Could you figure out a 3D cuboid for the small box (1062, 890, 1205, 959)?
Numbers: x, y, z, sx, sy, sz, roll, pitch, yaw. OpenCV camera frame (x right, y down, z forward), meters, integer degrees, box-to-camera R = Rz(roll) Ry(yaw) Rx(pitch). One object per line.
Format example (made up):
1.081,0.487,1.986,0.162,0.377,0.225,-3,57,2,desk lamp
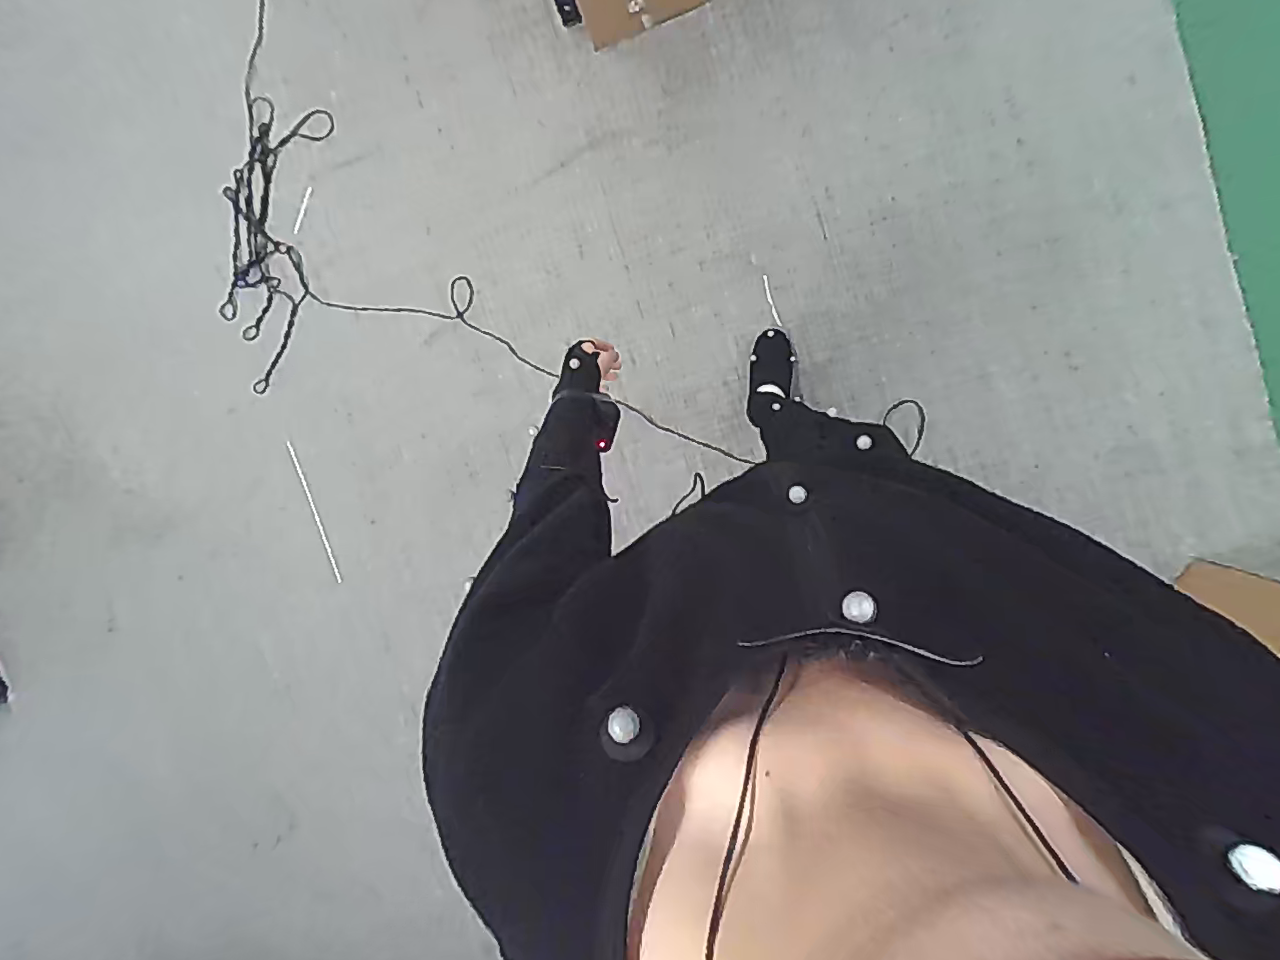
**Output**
0.911,0.888,0.954,0.168,0.176,0.179,43,101,4,small box
